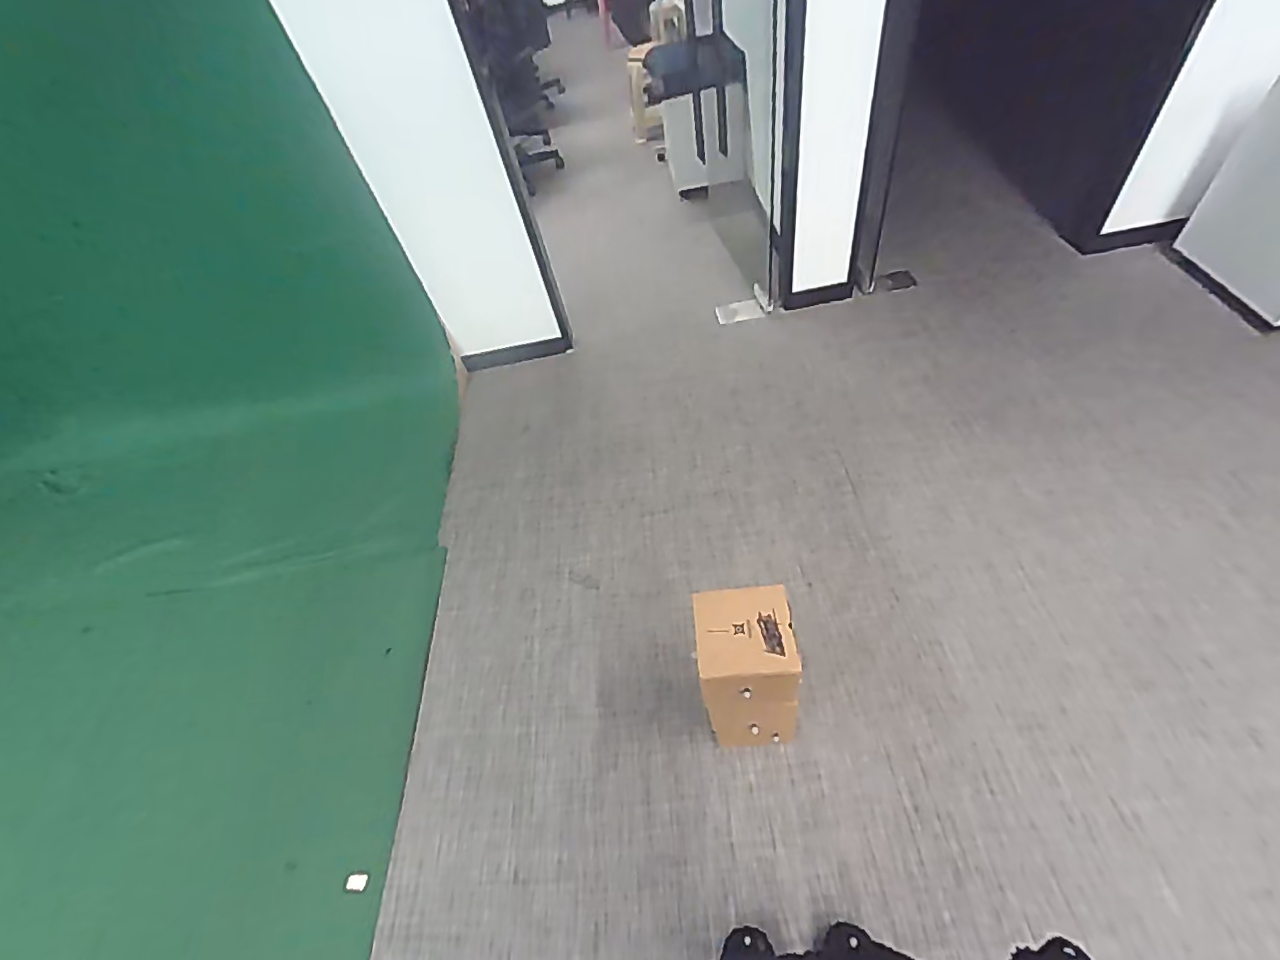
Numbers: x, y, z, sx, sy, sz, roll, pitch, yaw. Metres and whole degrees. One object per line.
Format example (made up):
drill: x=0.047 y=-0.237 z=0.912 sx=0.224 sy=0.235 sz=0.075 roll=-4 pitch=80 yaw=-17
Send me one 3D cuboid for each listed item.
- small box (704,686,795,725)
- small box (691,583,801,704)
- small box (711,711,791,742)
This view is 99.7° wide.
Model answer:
small box: x=0.226 y=0.418 z=1.159 sx=0.179 sy=0.176 sz=0.168 roll=-4 pitch=51 yaw=8
small box: x=0.195 y=0.316 z=1.033 sx=0.179 sy=0.176 sz=0.168 roll=-8 pitch=51 yaw=5
small box: x=0.254 y=0.514 z=1.289 sx=0.179 sy=0.176 sz=0.168 roll=-9 pitch=50 yaw=7
